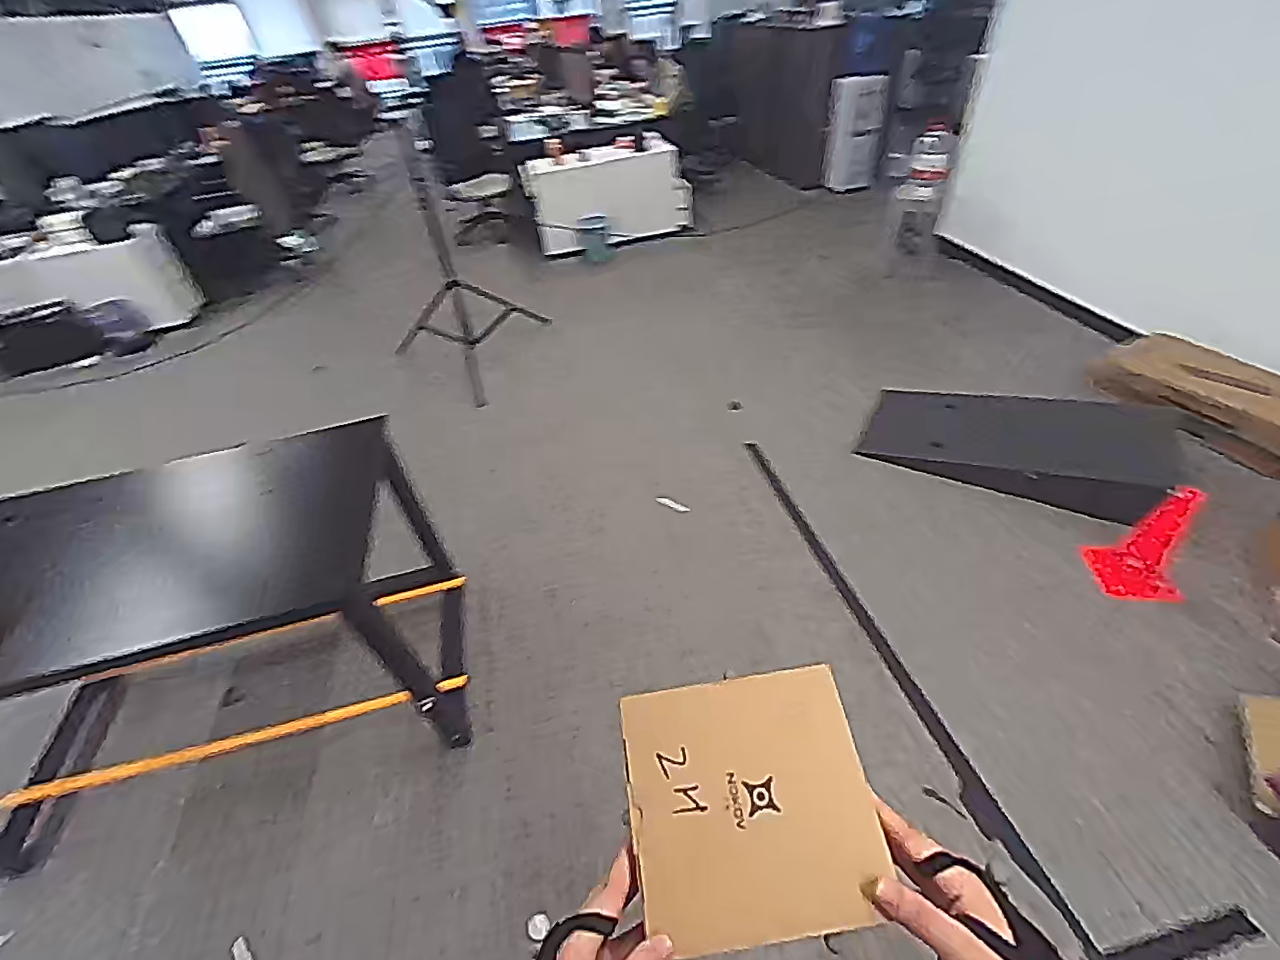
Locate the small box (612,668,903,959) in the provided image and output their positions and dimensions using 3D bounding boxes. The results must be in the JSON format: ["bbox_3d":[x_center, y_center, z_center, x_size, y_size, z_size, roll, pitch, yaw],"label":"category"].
[{"bbox_3d":[0.078,0.271,0.452,0.179,0.176,0.168,-10,57,-2],"label":"small box"}]
